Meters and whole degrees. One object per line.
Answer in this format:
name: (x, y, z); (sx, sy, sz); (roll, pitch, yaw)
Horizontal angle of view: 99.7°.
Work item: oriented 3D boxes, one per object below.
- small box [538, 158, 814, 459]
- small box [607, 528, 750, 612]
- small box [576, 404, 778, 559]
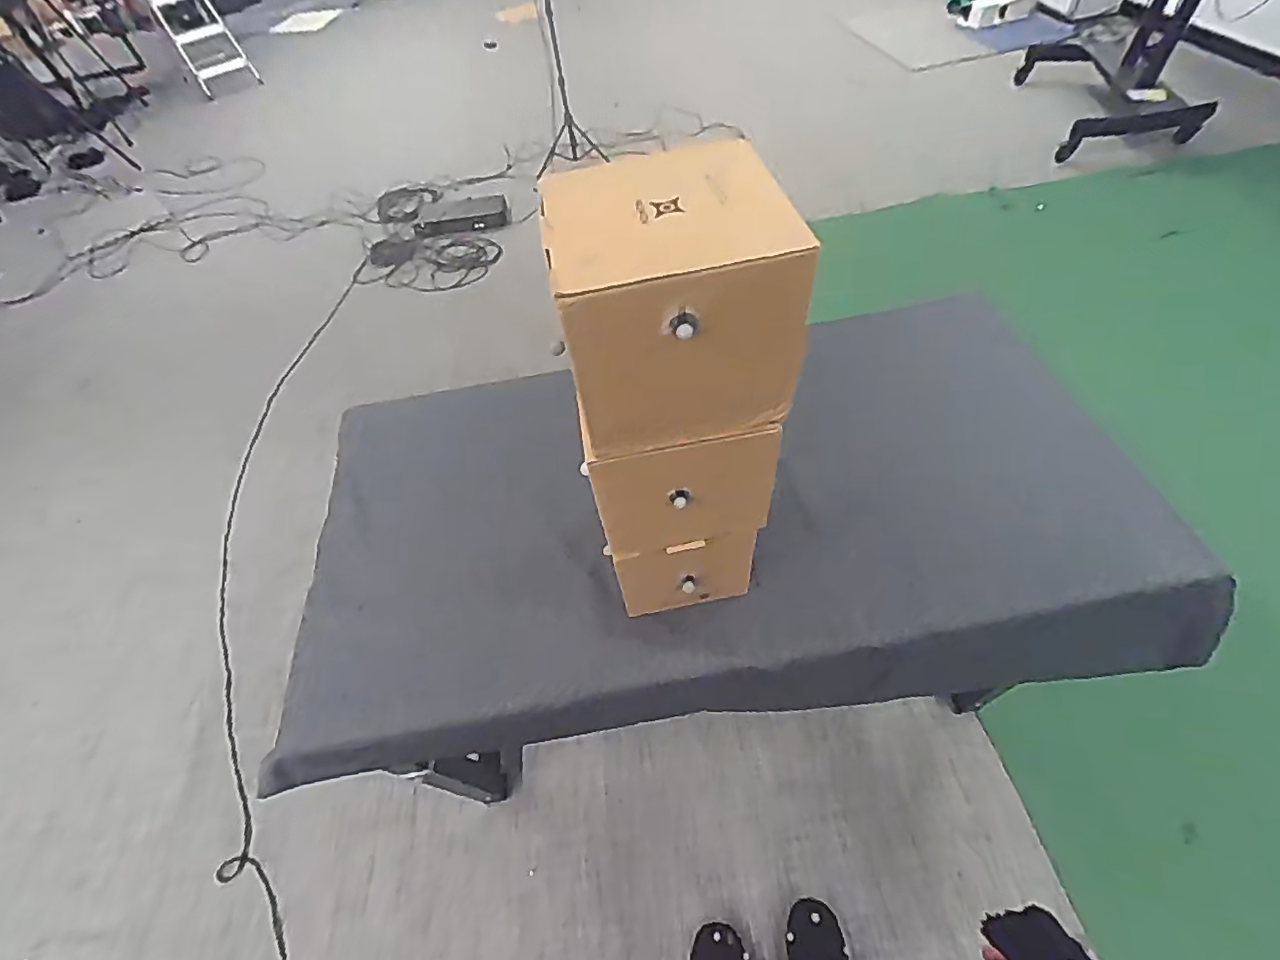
small box: (0.022, -0.136, 0.455); (0.179, 0.176, 0.168); (-11, 54, -3)
small box: (0.040, 0.061, 0.715); (0.168, 0.176, 0.179); (-11, 54, -2)
small box: (0.032, -0.035, 0.581); (0.179, 0.176, 0.168); (-11, 53, -1)
